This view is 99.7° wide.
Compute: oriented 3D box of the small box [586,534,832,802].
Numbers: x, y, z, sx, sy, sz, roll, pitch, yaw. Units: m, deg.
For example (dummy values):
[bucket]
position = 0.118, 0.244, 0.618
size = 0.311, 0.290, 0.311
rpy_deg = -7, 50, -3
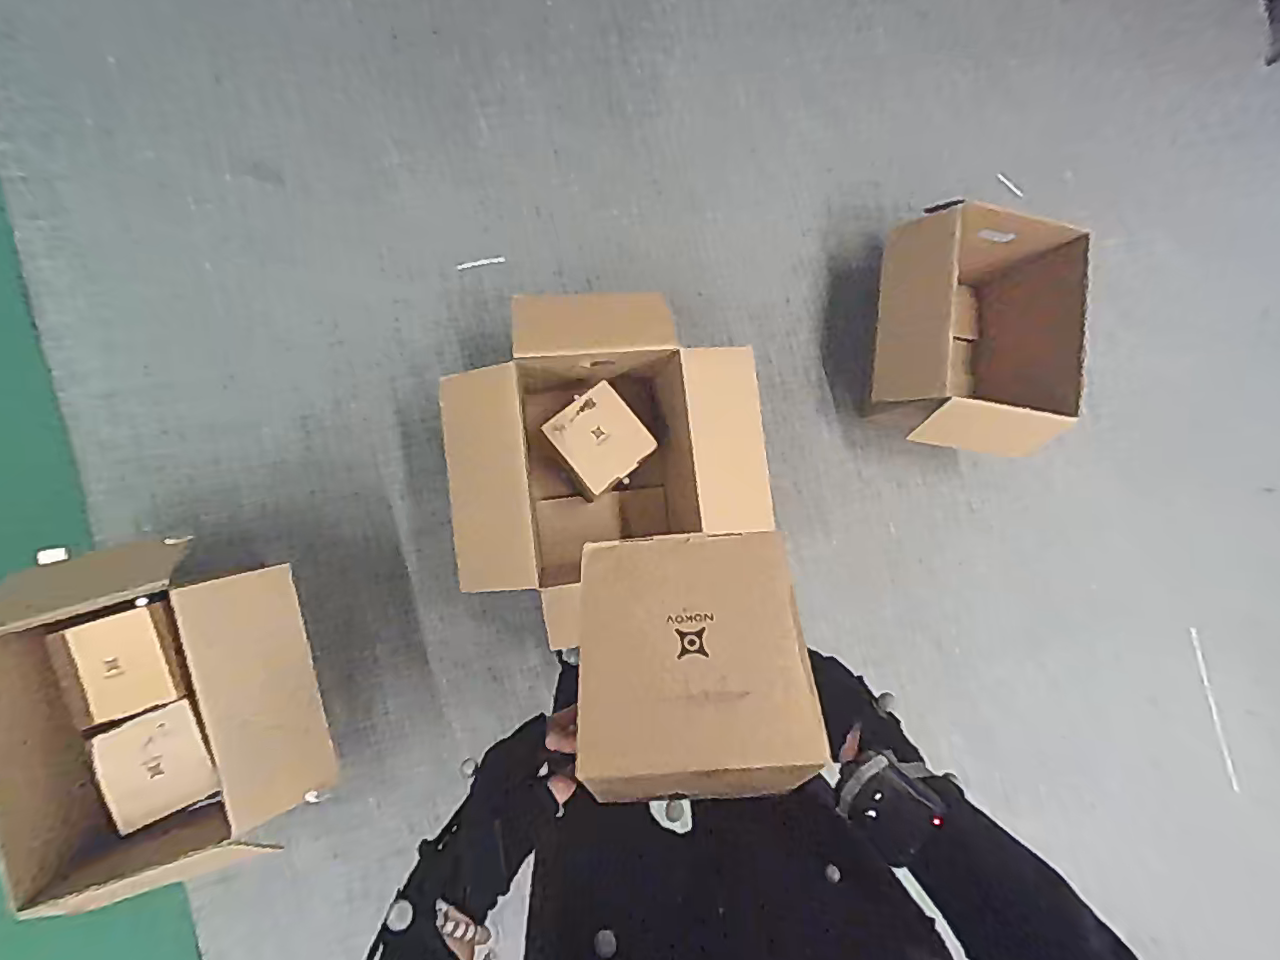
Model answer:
[small box]
position = 0.044, 0.166, 0.467
size = 0.168, 0.176, 0.179
rpy_deg = -4, 55, 0
